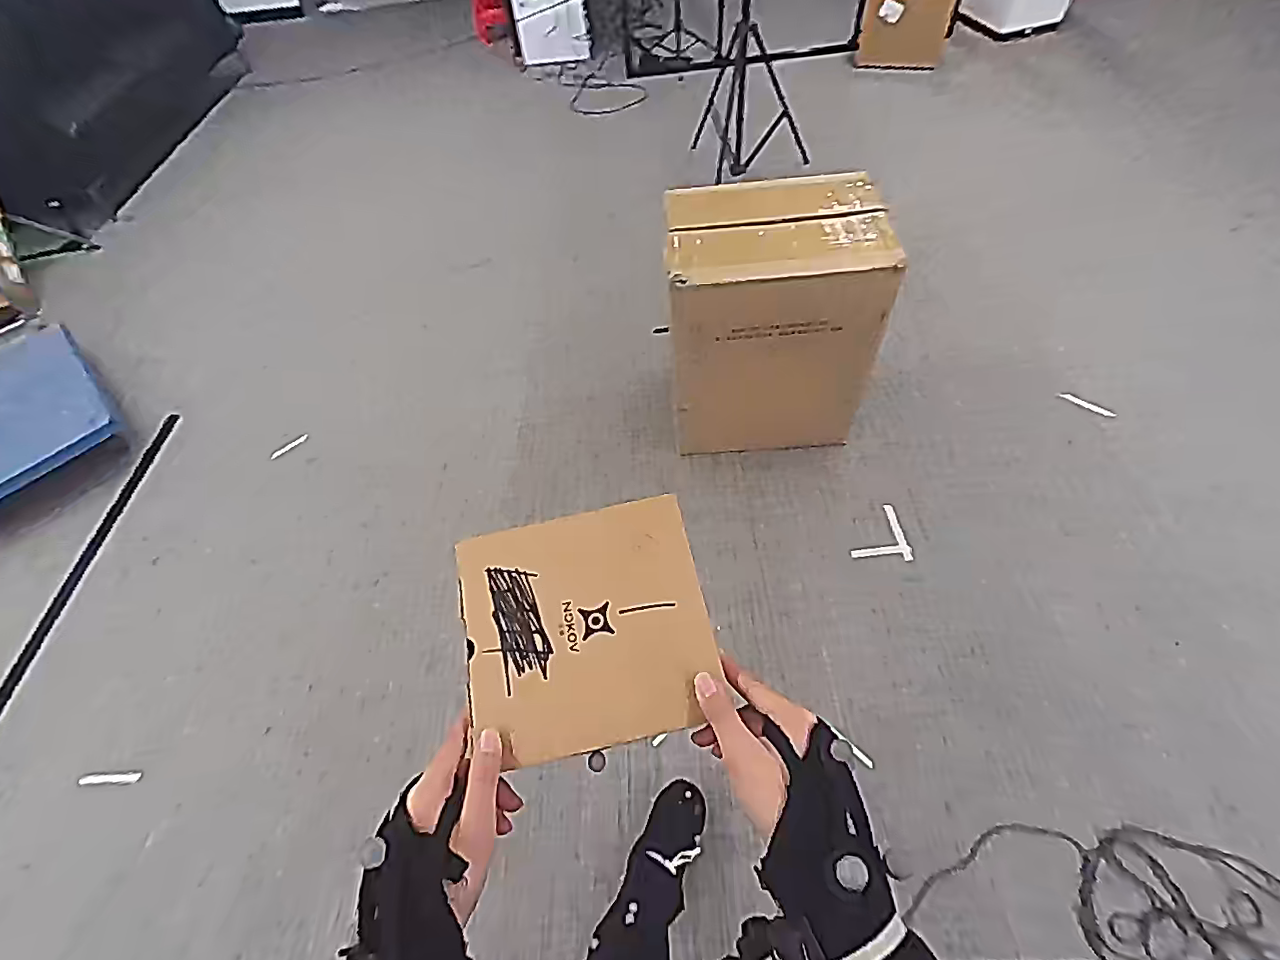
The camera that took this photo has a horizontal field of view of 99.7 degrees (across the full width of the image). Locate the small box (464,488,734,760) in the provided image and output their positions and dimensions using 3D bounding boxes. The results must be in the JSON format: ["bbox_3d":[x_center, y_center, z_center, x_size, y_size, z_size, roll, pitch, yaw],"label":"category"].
[{"bbox_3d":[-0.031,0.129,0.458,0.179,0.176,0.168,-12,65,-3],"label":"small box"}]
